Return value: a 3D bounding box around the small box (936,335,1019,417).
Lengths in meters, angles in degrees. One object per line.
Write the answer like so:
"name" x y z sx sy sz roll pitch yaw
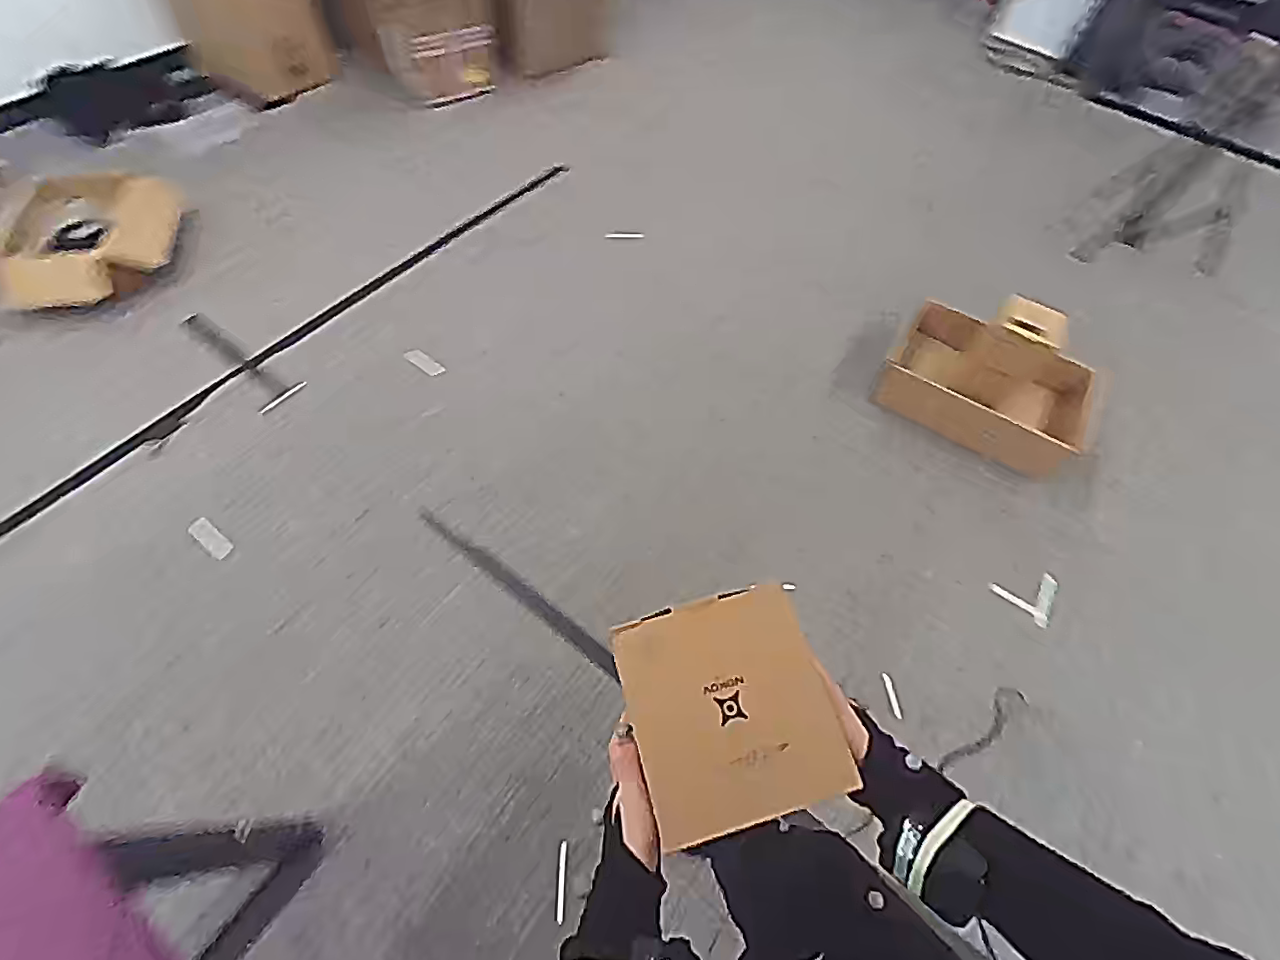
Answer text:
"small box" 1.139 -0.351 1.834 0.168 0.176 0.179 28 61 12
